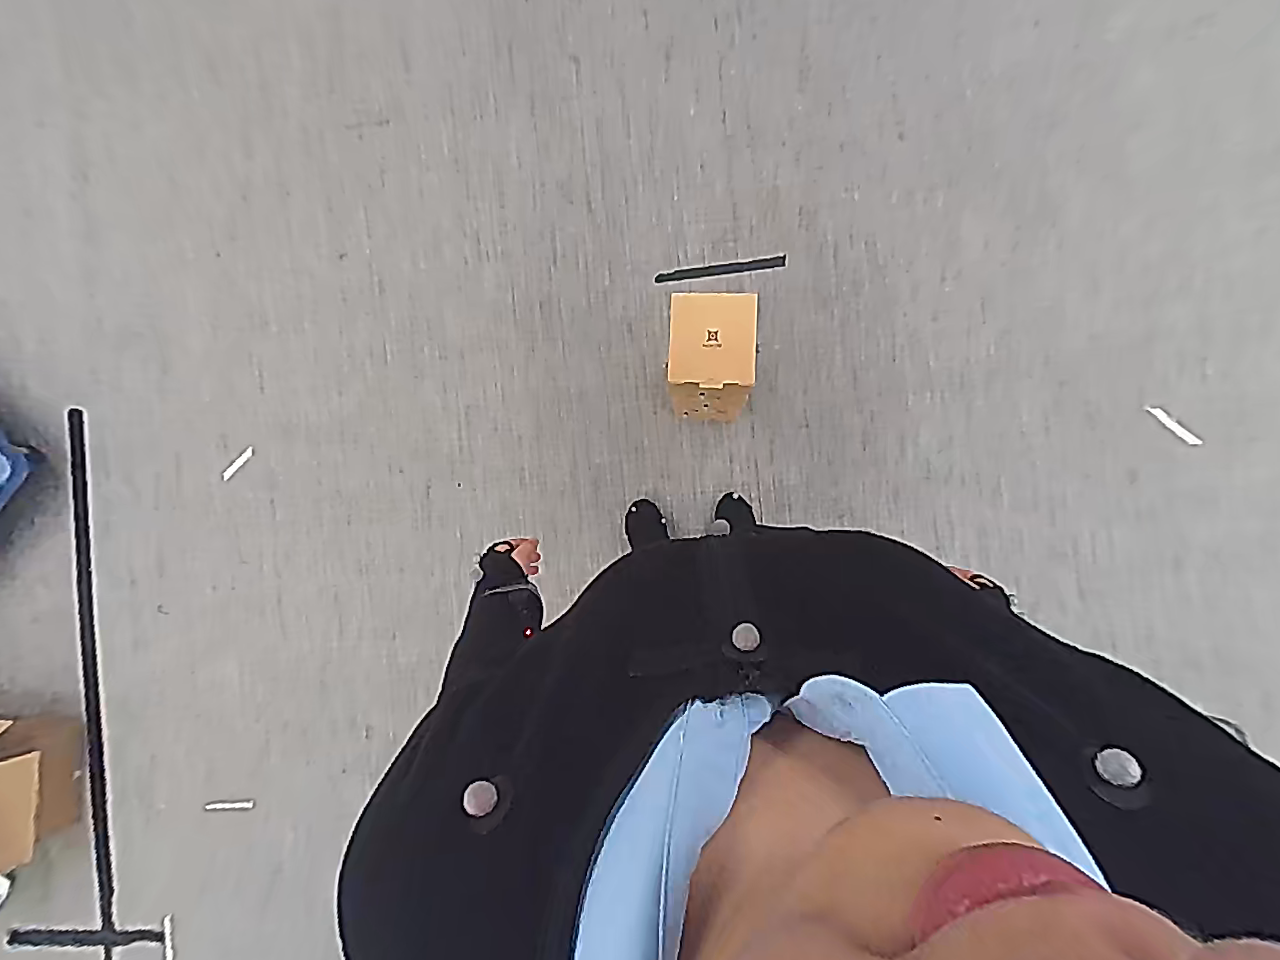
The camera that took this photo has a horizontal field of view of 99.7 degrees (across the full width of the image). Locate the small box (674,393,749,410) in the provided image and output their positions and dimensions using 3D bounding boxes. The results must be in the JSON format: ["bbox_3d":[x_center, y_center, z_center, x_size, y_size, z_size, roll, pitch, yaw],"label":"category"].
[{"bbox_3d":[0.168,-0.260,1.259,0.168,0.176,0.179,2,89,5],"label":"small box"}]

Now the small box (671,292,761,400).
[{"bbox_3d":[0.149,-0.265,1.098,0.168,0.176,0.179,2,89,5],"label":"small box"}]
